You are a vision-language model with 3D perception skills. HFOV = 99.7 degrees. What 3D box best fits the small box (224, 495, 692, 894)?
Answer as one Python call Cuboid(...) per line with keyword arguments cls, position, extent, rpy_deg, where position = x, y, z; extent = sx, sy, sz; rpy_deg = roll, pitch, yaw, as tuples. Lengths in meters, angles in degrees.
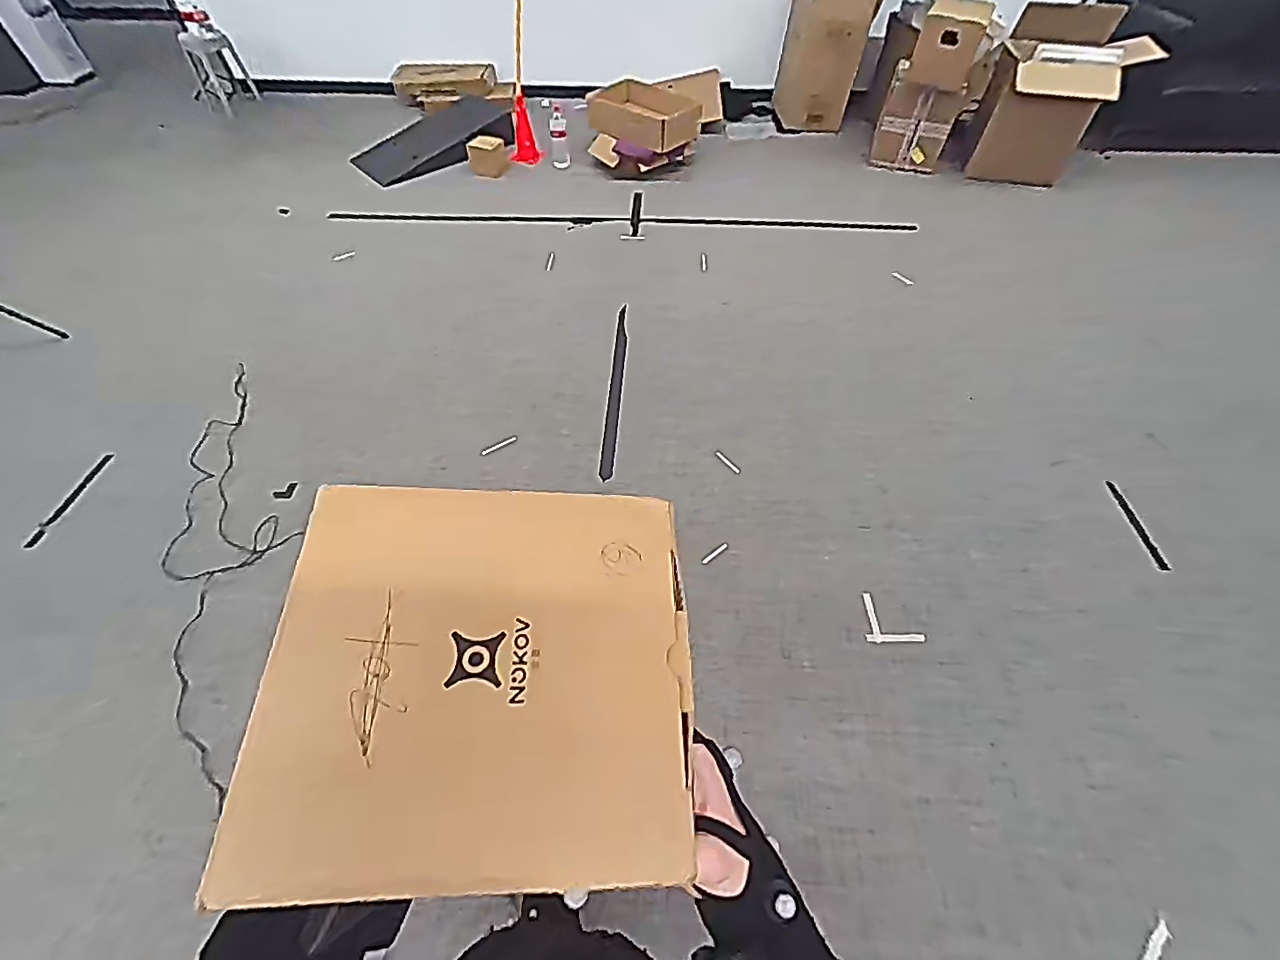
Cuboid(cls="small box", position=(-0.077, 0.122, 0.313), extent=(0.179, 0.176, 0.168), rpy_deg=(1, 59, -7))
